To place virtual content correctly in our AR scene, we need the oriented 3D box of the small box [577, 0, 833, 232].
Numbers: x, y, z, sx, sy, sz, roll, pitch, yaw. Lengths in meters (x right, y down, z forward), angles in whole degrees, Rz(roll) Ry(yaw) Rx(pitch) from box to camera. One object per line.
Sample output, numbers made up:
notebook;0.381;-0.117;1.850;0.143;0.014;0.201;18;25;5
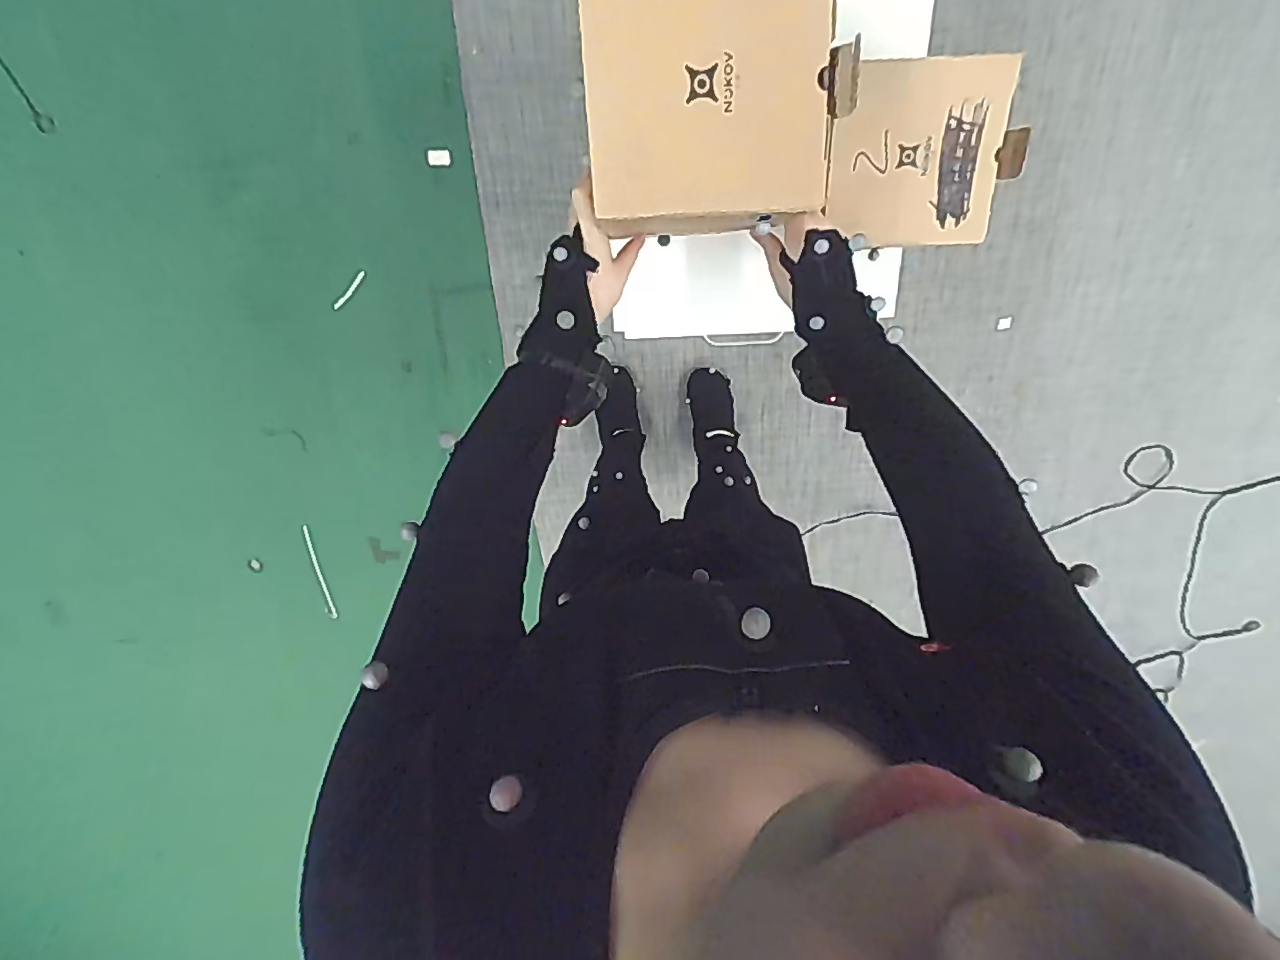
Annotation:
small box;0.044;-0.309;0.456;0.179;0.176;0.168;-4;110;-2
